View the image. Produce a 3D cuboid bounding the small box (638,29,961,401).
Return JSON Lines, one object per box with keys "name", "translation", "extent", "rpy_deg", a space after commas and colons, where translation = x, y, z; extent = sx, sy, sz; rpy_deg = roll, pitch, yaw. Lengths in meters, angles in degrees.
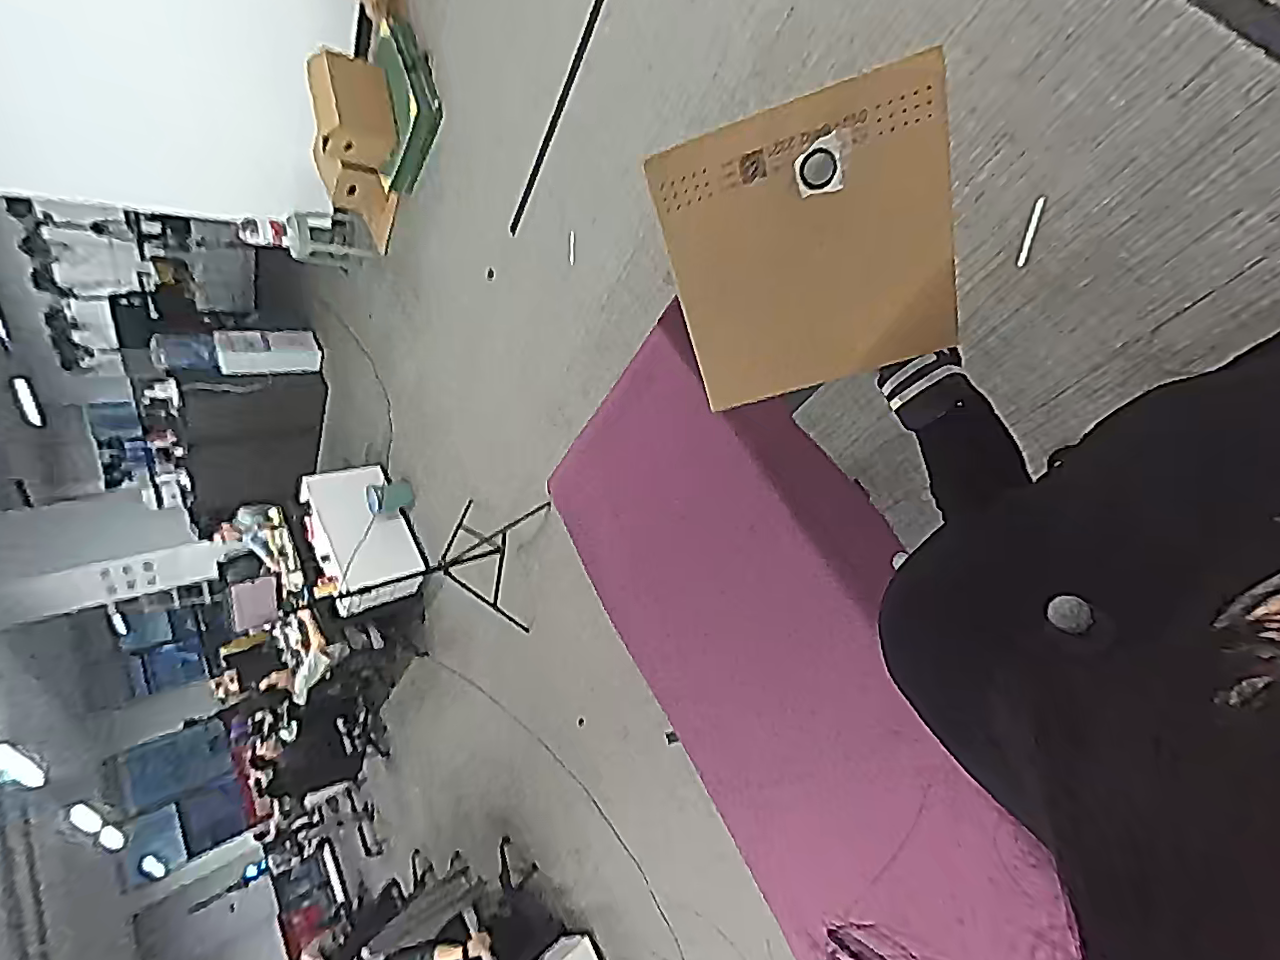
{"name": "small box", "translation": [0.108, -0.187, 0.396], "extent": [0.168, 0.179, 0.176], "rpy_deg": [-16, 117, 16]}
